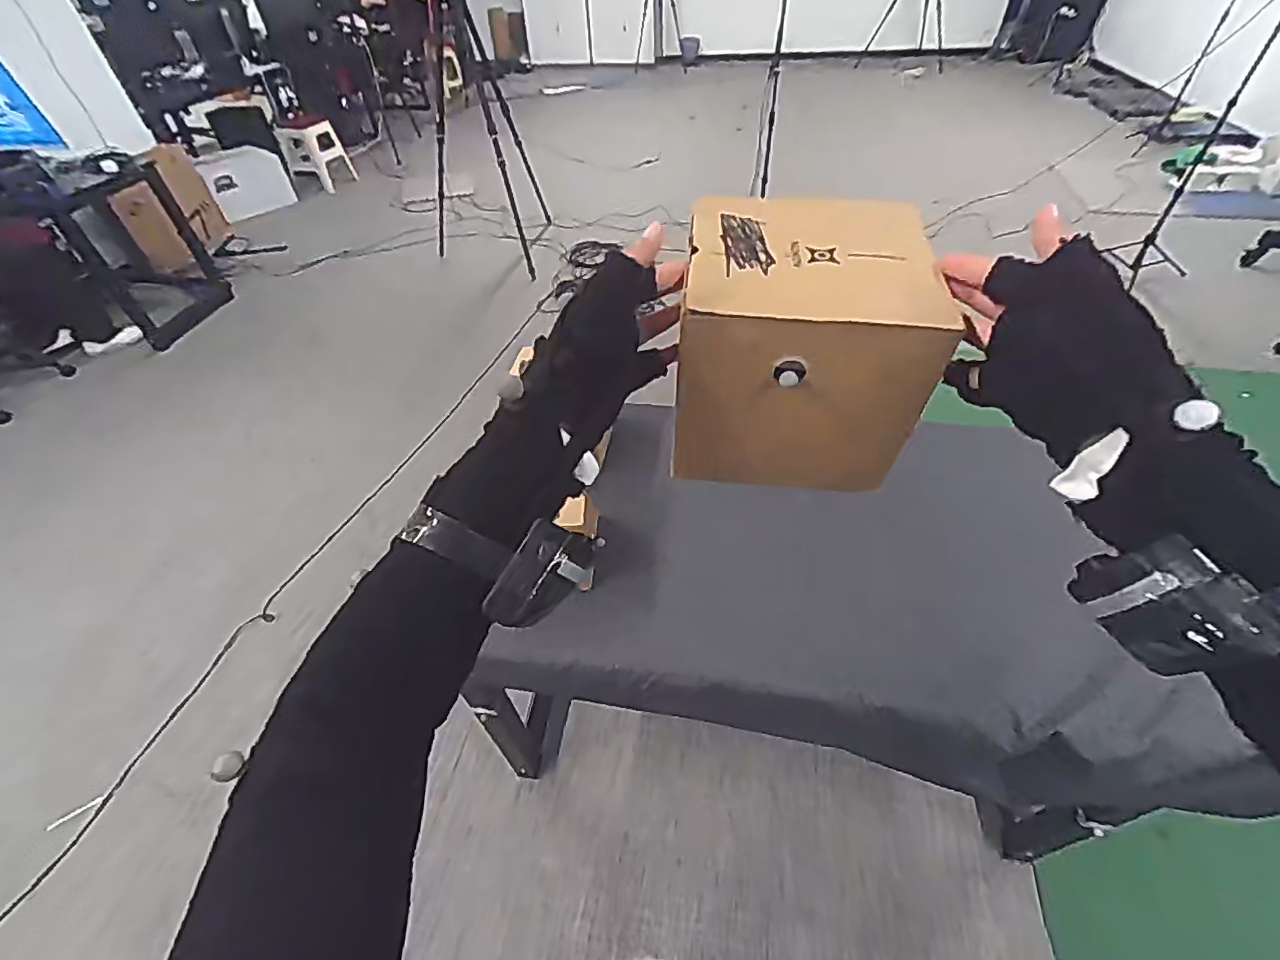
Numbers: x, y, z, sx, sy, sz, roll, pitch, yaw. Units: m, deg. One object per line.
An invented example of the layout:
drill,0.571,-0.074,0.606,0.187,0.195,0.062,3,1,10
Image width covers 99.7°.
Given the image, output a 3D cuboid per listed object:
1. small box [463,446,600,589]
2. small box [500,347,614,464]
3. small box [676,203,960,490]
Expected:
small box,-0.161,0.063,0.866,0.179,0.176,0.168,-1,46,0
small box,-0.150,-0.138,1.057,0.179,0.176,0.168,6,47,7
small box,0.123,-0.107,0.452,0.179,0.176,0.168,5,52,4
